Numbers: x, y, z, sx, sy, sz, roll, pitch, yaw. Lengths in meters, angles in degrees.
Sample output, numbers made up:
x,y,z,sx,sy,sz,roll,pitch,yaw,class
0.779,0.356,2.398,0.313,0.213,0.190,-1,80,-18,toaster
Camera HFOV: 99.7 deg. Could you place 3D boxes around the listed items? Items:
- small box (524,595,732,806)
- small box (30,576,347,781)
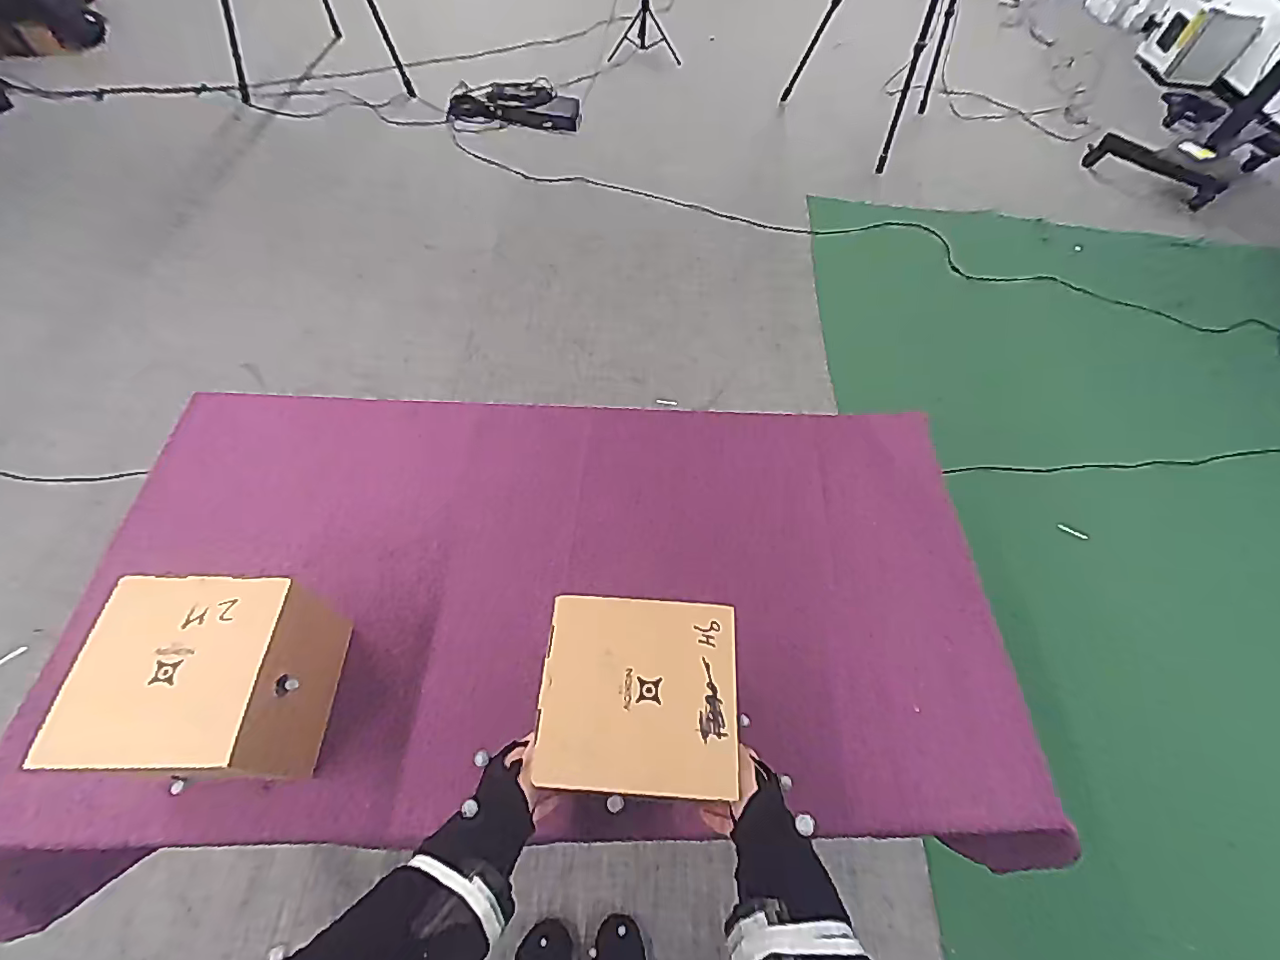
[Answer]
x,y,z,sx,sy,sz,roll,pitch,yaw,class
-0.004,0.229,0.552,0.179,0.176,0.168,4,58,2,small box
-0.441,0.215,0.572,0.168,0.176,0.179,2,57,-4,small box
